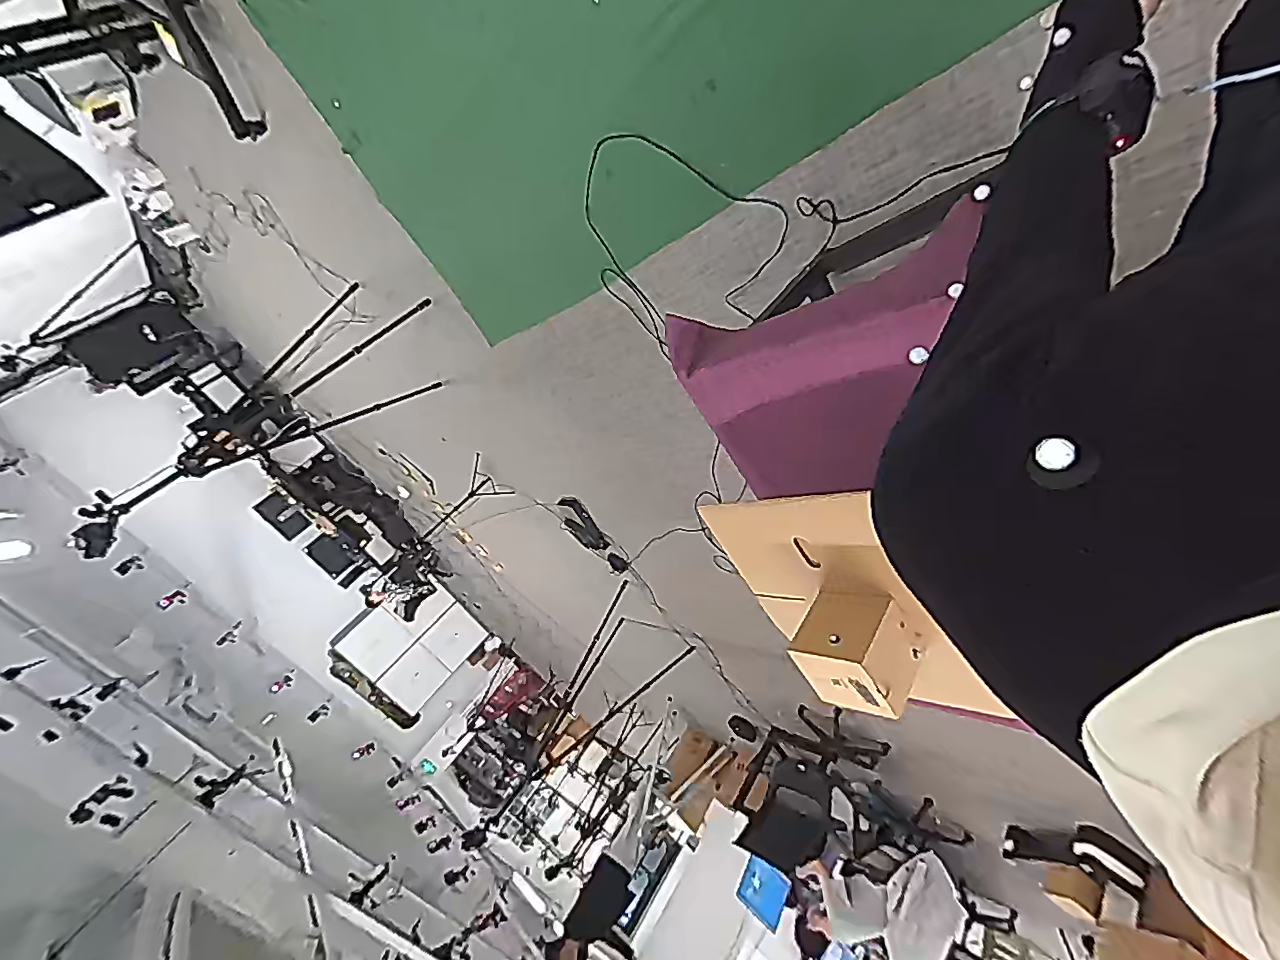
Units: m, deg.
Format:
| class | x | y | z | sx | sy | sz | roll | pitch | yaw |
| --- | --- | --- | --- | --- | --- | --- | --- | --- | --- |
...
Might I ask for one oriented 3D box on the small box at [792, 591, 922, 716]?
| class | x | y | z | sx | sy | sz | roll | pitch | yaw |
| --- | --- | --- | --- | --- | --- | --- | --- | --- | --- |
| small box | 0.454 | 0.348 | 1.116 | 0.179 | 0.176 | 0.168 | -11 | 120 | 55 |
